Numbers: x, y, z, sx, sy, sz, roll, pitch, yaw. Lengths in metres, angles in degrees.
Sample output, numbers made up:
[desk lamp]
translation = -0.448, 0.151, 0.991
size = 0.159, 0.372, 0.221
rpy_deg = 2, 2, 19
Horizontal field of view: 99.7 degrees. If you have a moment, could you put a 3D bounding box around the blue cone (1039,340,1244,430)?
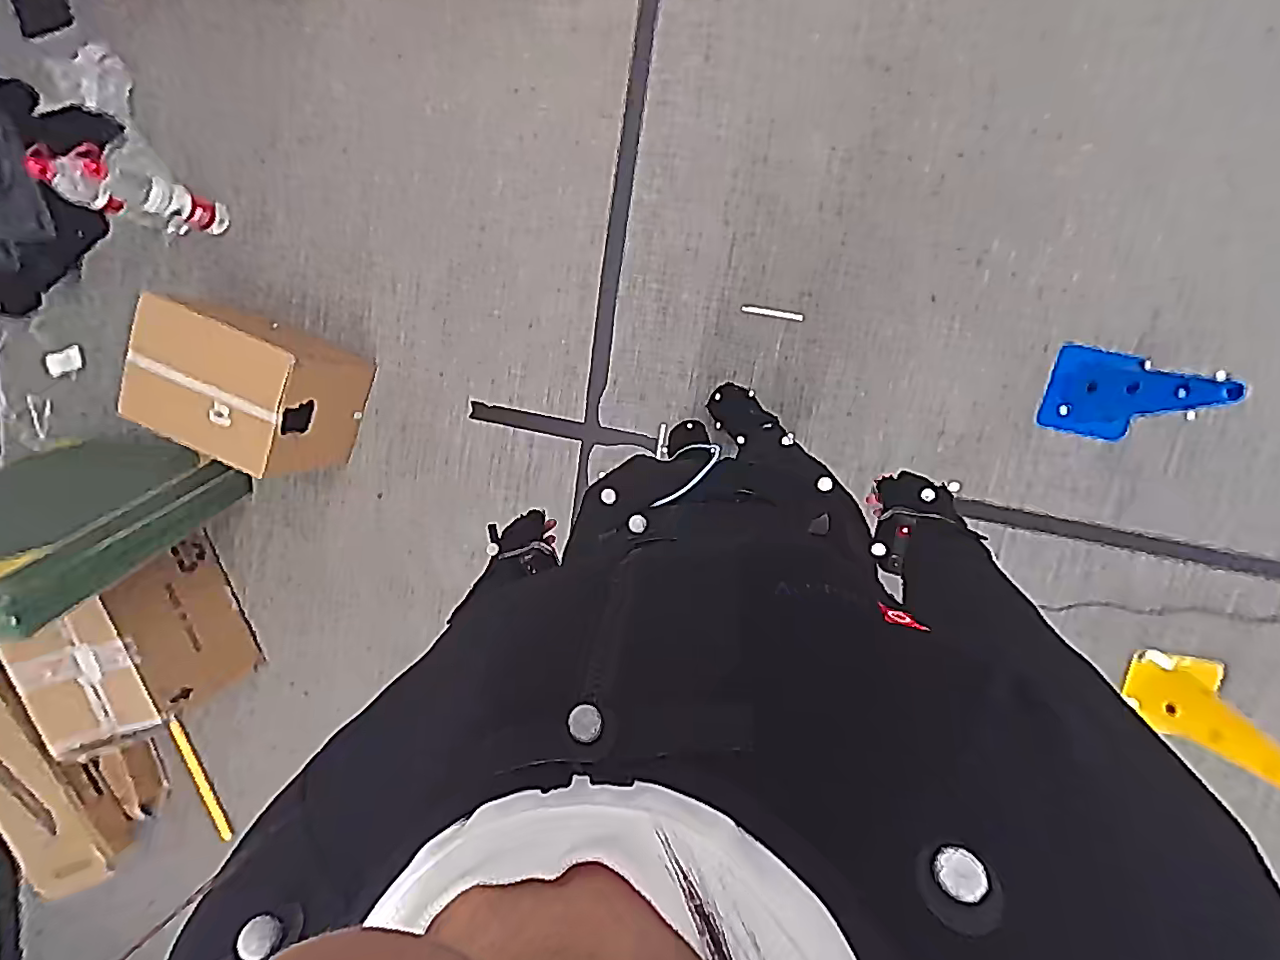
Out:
[blue cone]
translation = 1.029, -0.199, 1.101
size = 0.193, 0.380, 0.192
rpy_deg = 15, 99, 5
